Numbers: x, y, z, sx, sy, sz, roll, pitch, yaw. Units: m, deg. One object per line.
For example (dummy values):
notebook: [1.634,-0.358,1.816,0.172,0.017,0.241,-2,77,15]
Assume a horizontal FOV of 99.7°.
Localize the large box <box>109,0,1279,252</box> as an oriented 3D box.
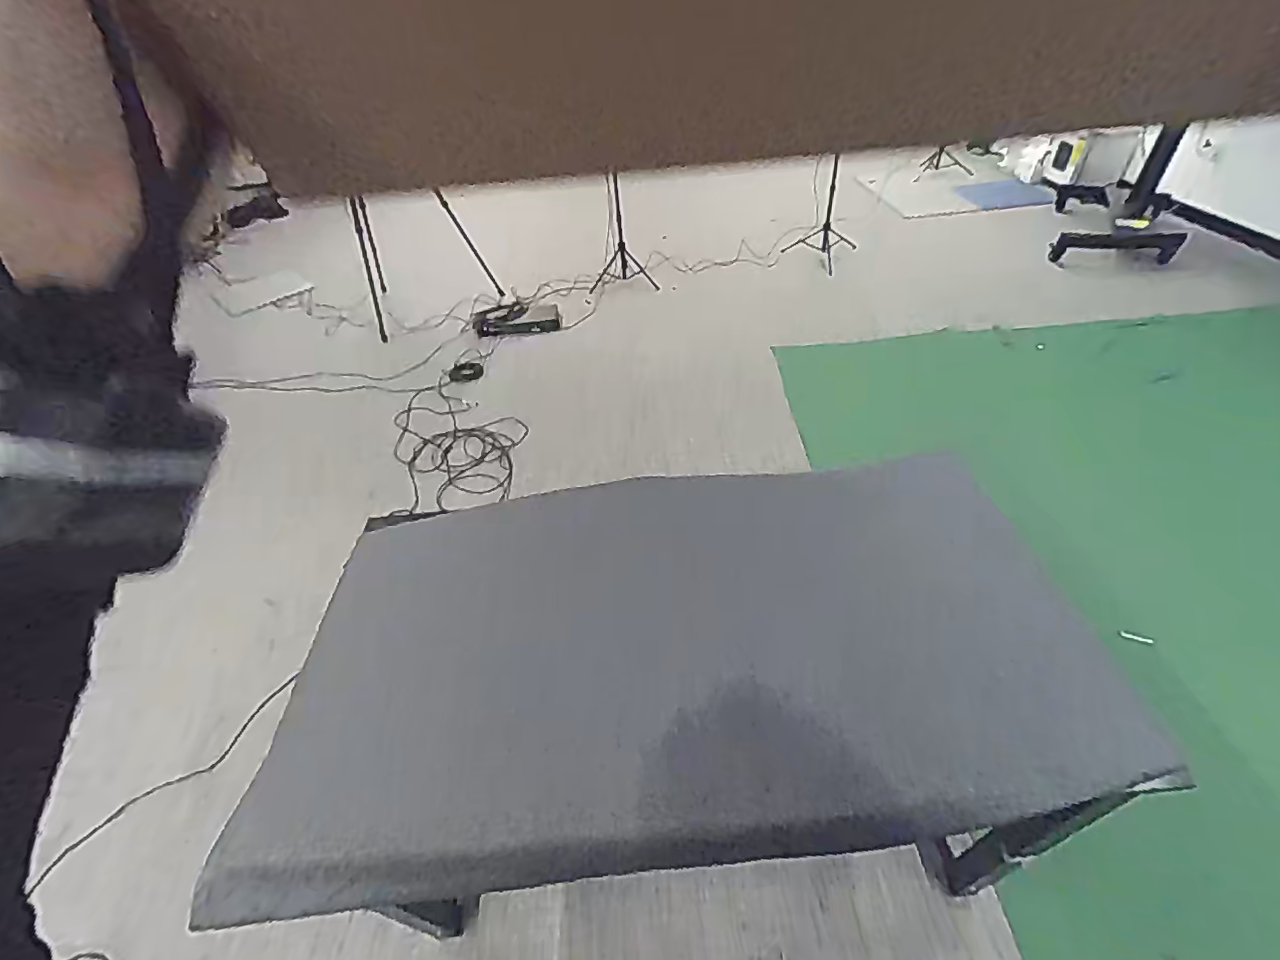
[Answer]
large box: [0.039,-0.302,0.136,0.408,0.320,0.320,-6,74,-2]
